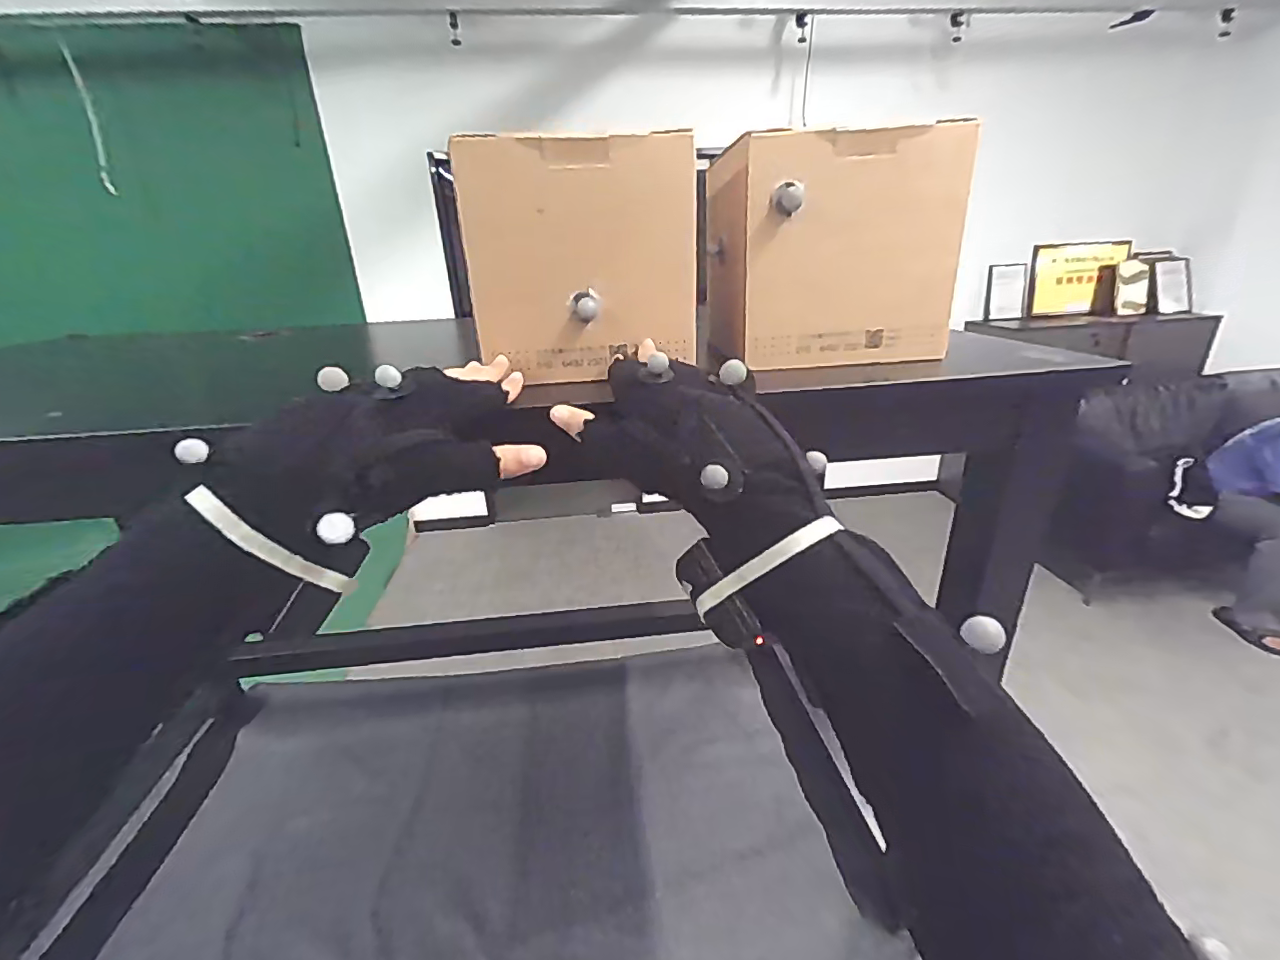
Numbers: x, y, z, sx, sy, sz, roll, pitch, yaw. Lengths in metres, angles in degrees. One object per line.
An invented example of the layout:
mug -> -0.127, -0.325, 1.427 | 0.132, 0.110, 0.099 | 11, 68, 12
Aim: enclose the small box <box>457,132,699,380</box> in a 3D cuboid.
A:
small box -> -0.048, -0.185, 0.468 | 0.168, 0.176, 0.179 | -5, 22, -6
